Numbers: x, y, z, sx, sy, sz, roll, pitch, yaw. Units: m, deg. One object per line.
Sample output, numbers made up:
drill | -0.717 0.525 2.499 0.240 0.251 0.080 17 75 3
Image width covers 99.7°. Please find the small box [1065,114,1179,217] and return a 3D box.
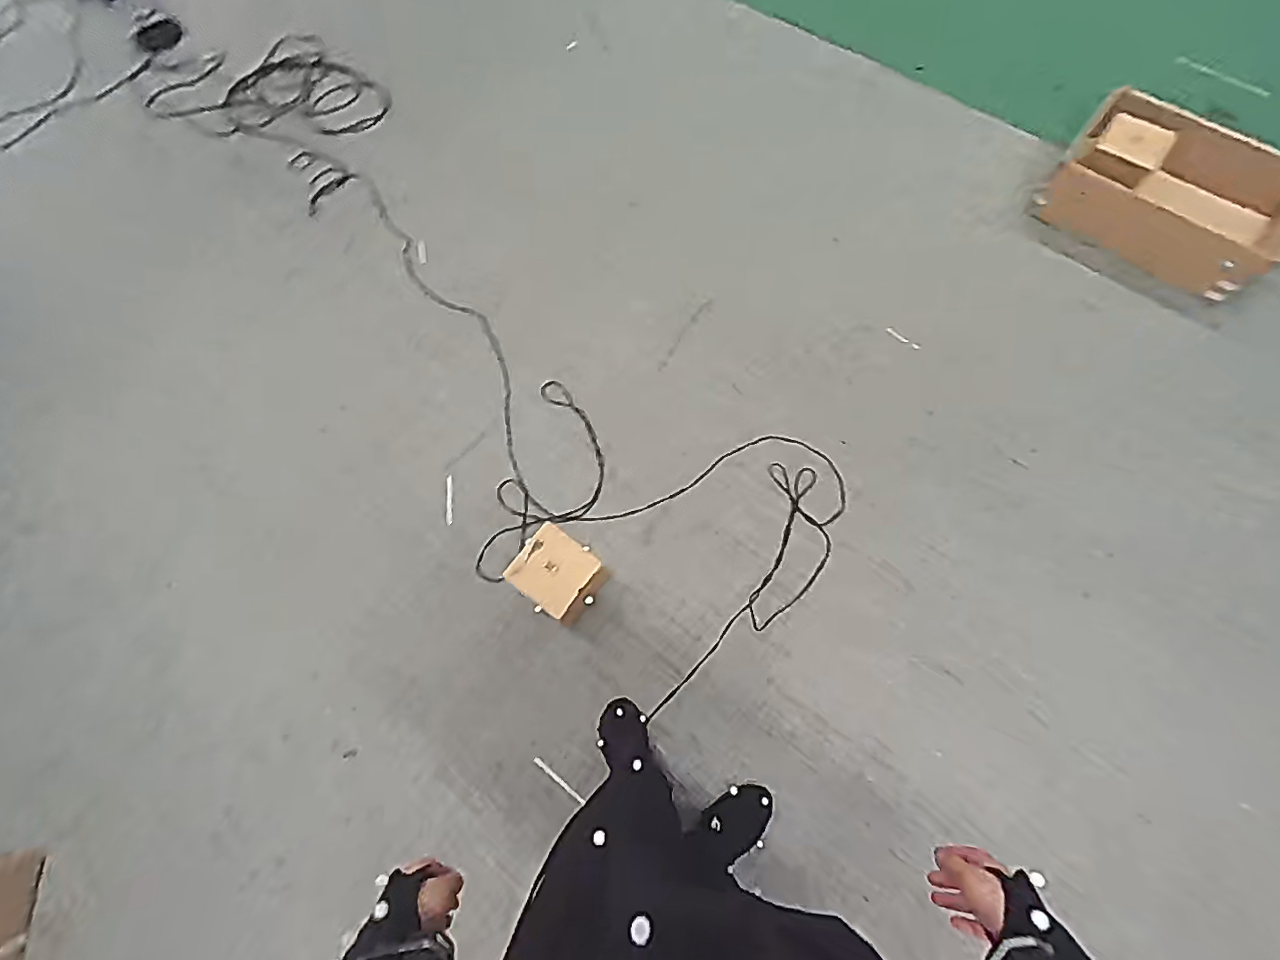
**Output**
small box | 1.444 -0.944 1.633 0.168 0.176 0.179 35 76 14

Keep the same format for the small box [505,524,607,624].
small box | -0.194 0.237 1.319 0.179 0.176 0.168 35 74 12
